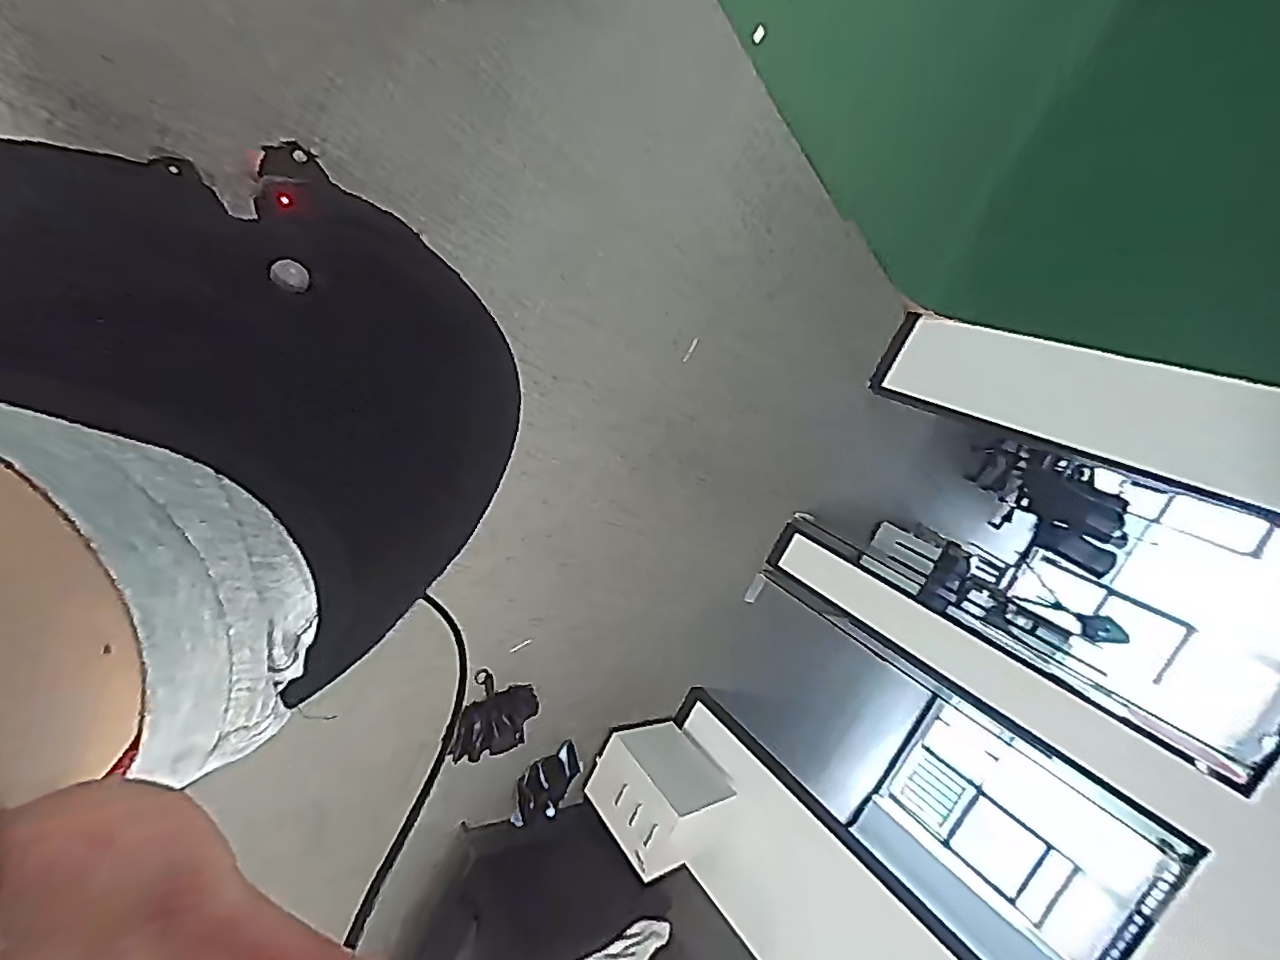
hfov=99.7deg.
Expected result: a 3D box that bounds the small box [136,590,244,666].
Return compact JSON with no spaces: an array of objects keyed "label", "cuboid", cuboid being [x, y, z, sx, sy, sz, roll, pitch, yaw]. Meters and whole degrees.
[{"label":"small box","cuboid":[-1.161,0.422,1.410,0.168,0.176,0.179,-32,132,-26]}]

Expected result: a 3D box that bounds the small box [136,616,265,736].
[{"label":"small box","cuboid":[-1.049,0.464,1.294,0.179,0.176,0.168,-42,137,-18]}]
